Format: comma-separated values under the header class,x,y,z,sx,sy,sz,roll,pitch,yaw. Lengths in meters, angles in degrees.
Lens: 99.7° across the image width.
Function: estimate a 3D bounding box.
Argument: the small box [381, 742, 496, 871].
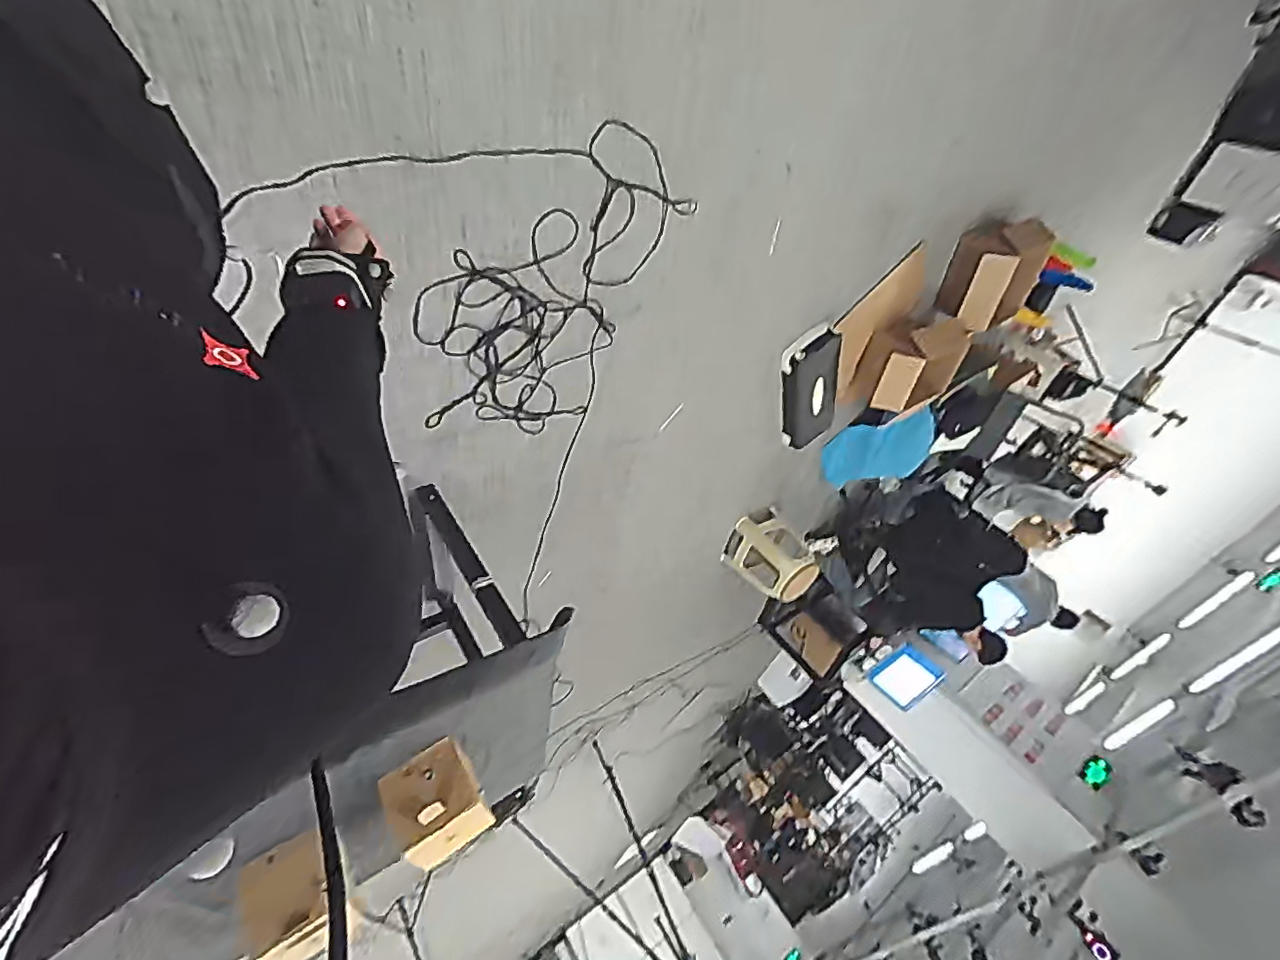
class,x,y,z,sx,sy,sz,roll,pitch,yaw
small box,-0.444,0.717,1.197,0.168,0.176,0.179,-27,141,-23
